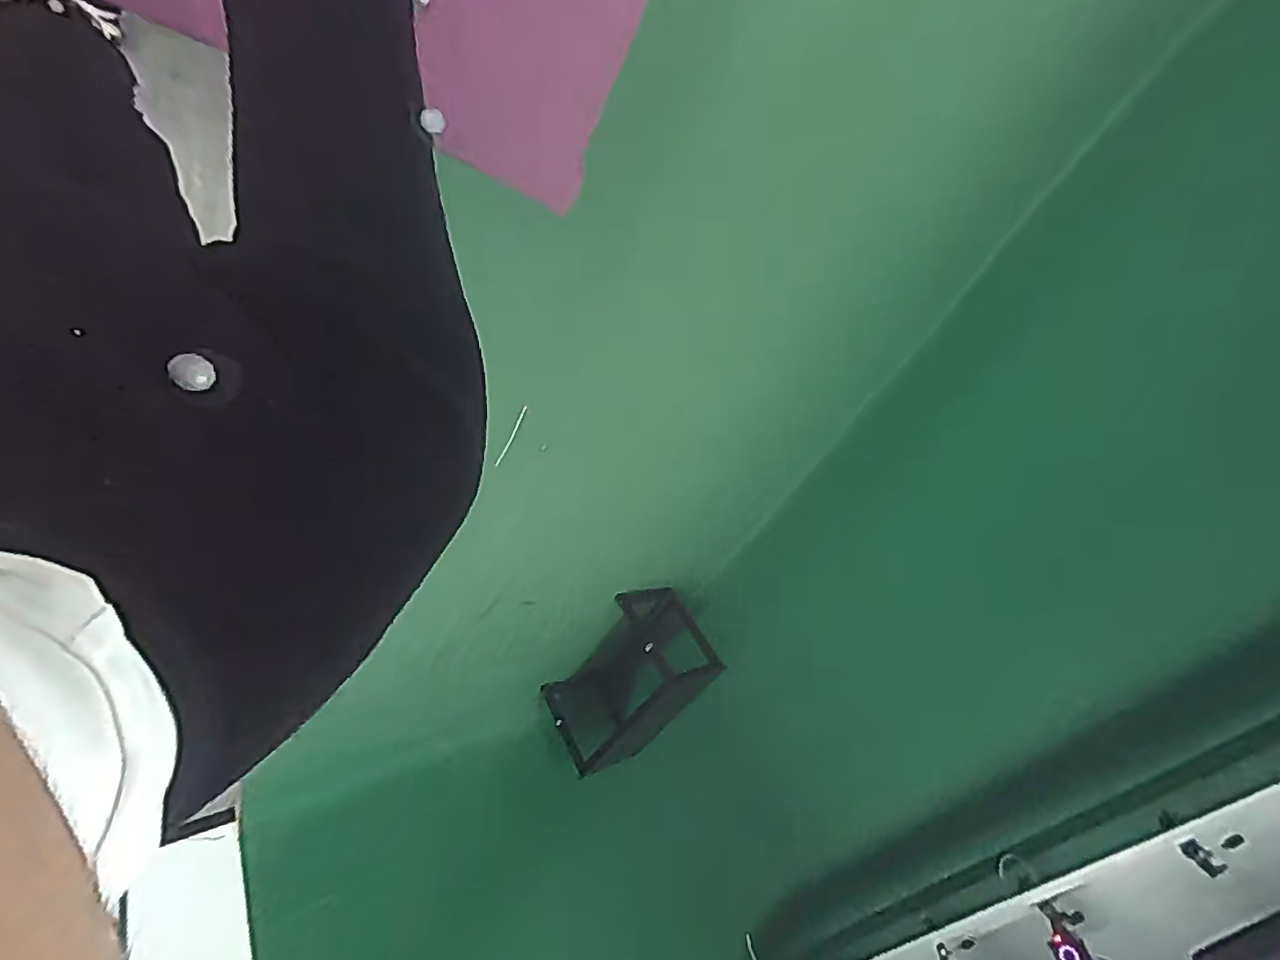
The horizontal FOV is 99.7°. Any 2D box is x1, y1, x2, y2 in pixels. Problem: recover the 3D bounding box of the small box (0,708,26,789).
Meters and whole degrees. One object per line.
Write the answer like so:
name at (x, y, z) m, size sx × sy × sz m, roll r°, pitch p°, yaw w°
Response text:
small box at (-1.921, 0.784, 1.551) m, size 0.168 × 0.176 × 0.179 m, roll -48°, pitch 145°, yaw 20°
